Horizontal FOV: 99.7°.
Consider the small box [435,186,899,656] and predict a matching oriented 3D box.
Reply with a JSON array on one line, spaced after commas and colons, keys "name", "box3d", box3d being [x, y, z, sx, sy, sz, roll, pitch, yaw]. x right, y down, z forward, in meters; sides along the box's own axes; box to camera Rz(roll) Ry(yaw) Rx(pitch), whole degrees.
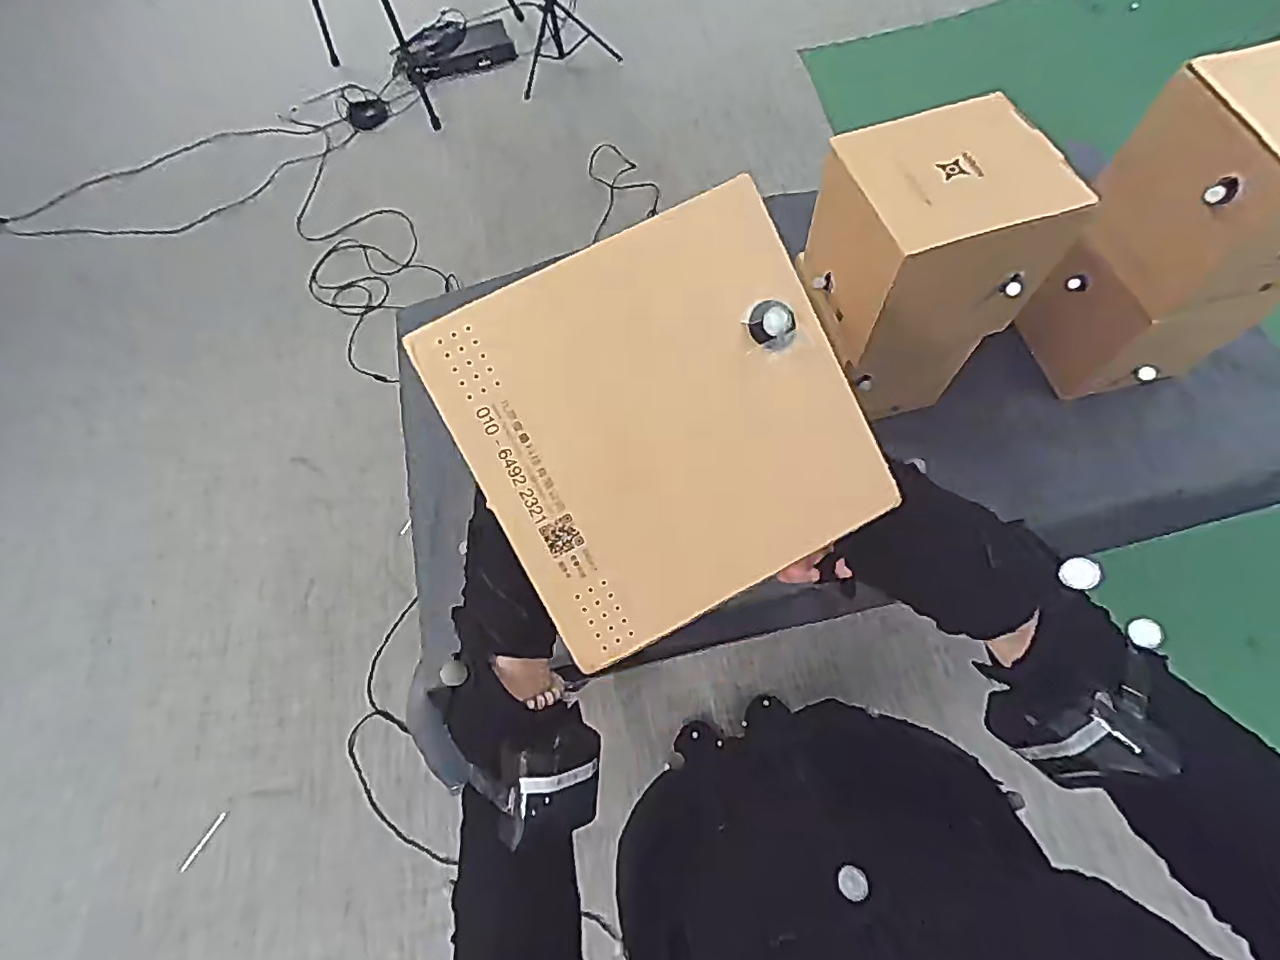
[{"name": "small box", "box3d": [0.003, -0.027, 0.323, 0.176, 0.179, 0.168, -28, 94, -6]}]

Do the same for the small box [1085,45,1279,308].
[{"name": "small box", "box3d": [0.612, -0.297, 0.548, 0.168, 0.176, 0.179, -11, 66, 2]}]

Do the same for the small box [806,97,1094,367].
[{"name": "small box", "box3d": [0.295, -0.247, 0.565, 0.179, 0.176, 0.168, -15, 65, 0]}]
